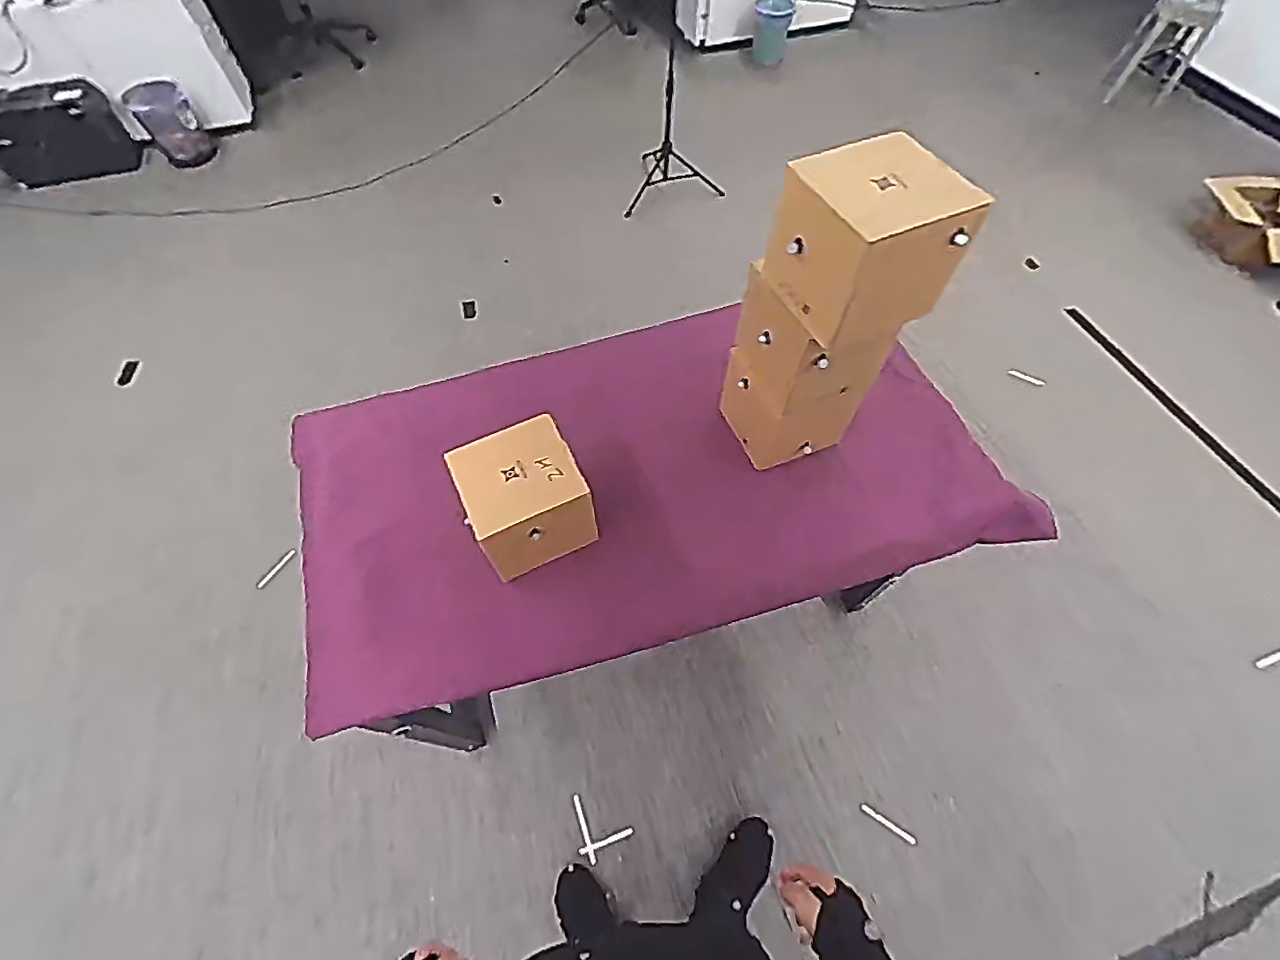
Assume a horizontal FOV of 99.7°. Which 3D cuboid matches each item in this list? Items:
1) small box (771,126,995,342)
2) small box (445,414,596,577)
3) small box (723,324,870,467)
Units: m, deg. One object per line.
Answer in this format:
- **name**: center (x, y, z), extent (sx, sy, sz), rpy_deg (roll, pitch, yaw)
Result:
- **small box**: center (0.283, -0.303, 0.683), extent (0.179, 0.176, 0.168), rpy_deg (-22, 62, -12)
- **small box**: center (-0.183, 0.030, 0.867), extent (0.179, 0.176, 0.168), rpy_deg (-23, 62, -14)
- **small box**: center (0.268, -0.150, 0.973), extent (0.179, 0.176, 0.168), rpy_deg (-19, 61, -11)
